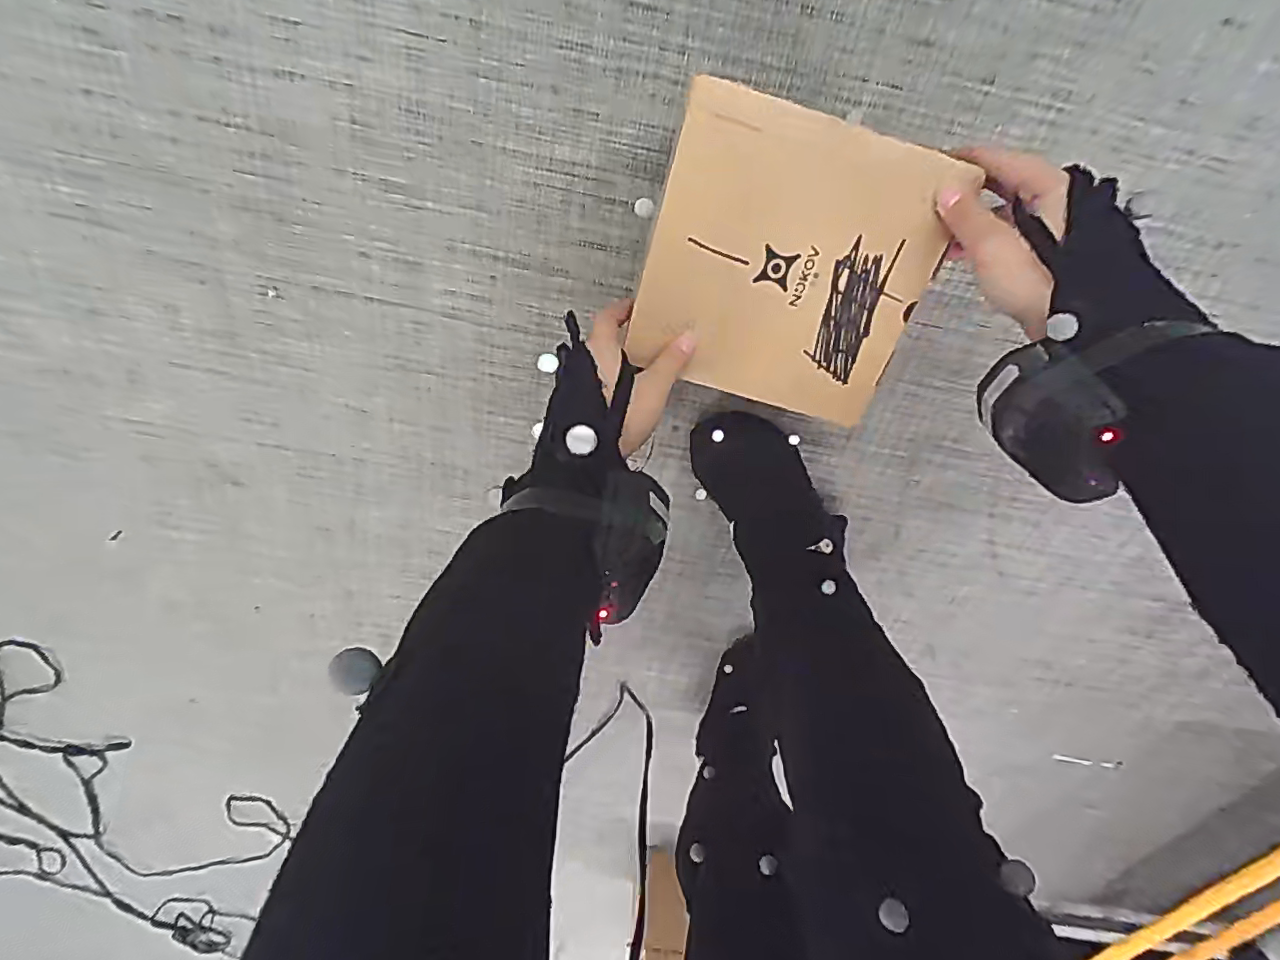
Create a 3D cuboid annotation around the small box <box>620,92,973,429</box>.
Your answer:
[{"bbox_3d":[0.094,-0.163,0.412,0.179,0.176,0.168,15,118,-5],"label":"small box"}]

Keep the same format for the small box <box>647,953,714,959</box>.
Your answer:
[{"bbox_3d":[0.084,0.967,0.941,0.168,0.176,0.179,5,121,-1],"label":"small box"}]

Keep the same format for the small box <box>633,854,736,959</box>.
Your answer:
[{"bbox_3d":[0.081,0.876,1.078,0.179,0.176,0.168,5,121,-1],"label":"small box"}]
